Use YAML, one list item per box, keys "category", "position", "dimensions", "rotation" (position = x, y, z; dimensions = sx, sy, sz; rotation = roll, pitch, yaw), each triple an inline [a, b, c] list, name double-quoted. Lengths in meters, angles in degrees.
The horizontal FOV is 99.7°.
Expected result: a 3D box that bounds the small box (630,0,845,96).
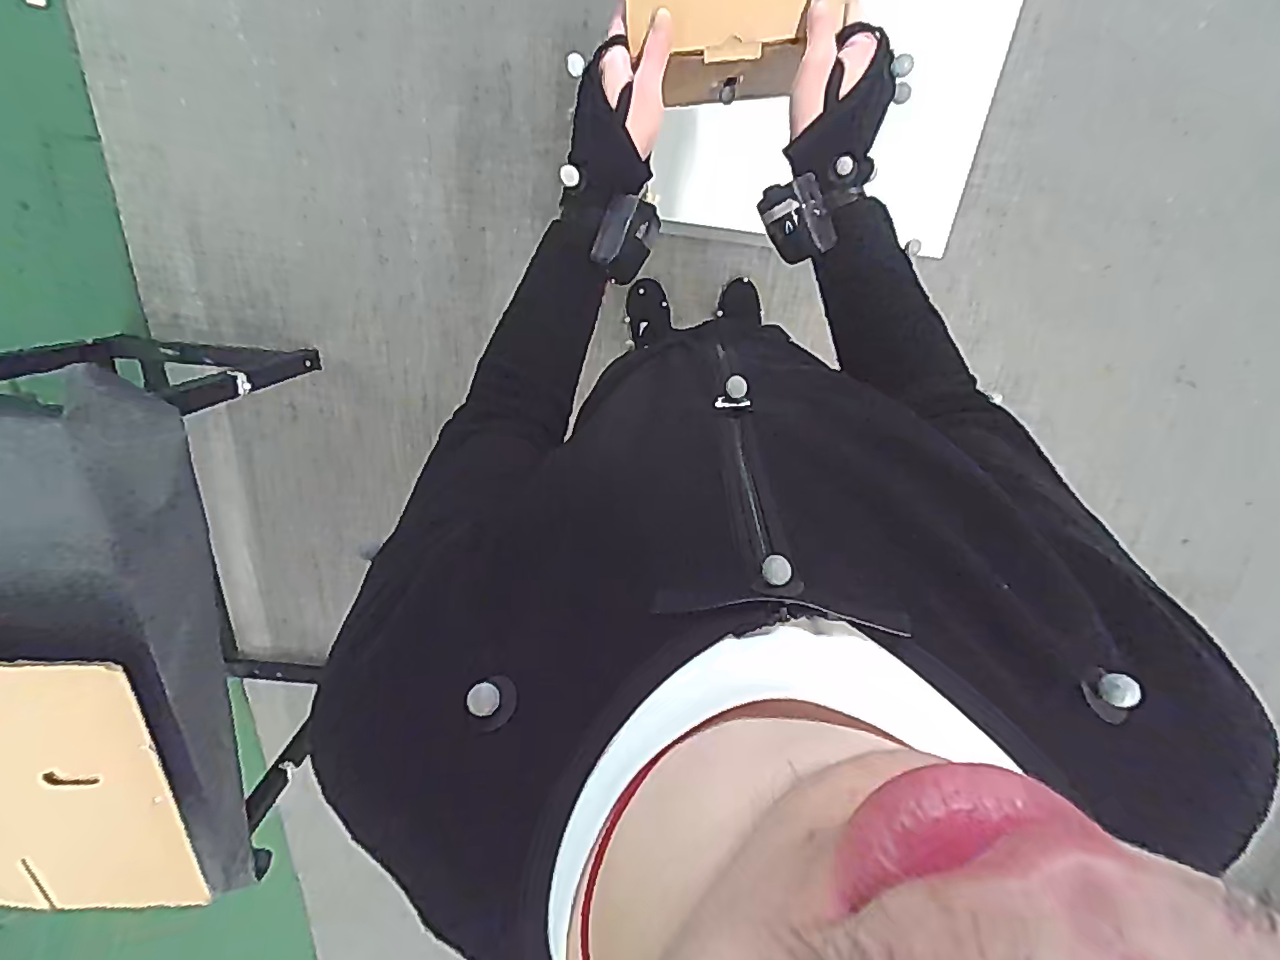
- category: "small box"
  position: [0.079, -0.453, 0.462]
  dimensions: [0.168, 0.176, 0.179]
  rotation: [-3, 113, 9]
